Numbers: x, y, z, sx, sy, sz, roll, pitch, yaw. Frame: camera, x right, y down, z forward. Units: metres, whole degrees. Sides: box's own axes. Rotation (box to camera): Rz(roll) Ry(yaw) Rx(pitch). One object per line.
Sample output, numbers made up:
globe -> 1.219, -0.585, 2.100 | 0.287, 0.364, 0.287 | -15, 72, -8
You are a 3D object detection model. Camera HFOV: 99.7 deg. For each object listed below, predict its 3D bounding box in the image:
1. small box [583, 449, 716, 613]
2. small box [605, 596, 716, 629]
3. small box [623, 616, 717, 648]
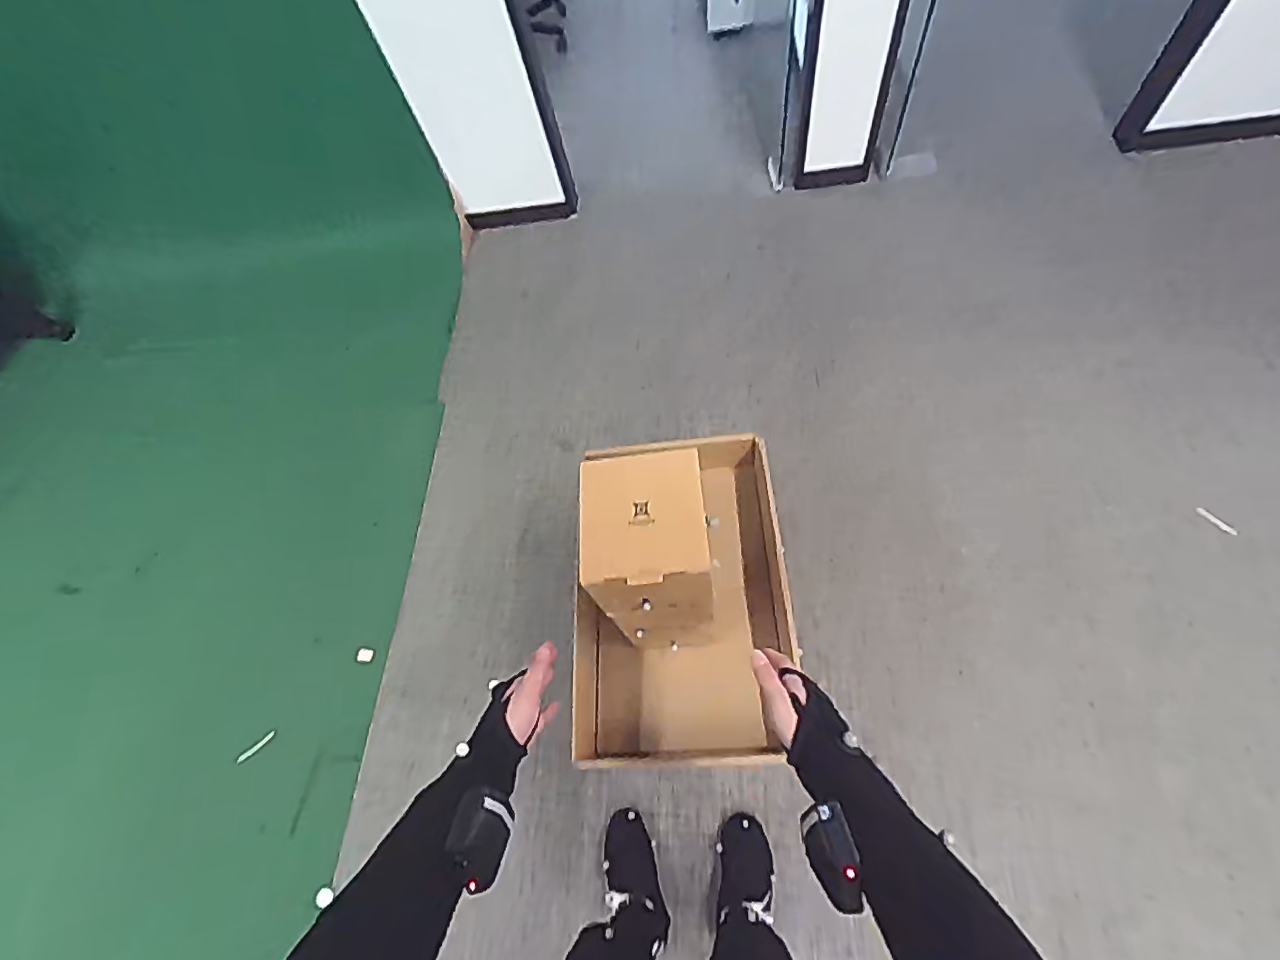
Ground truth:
small box -> 0.016, 0.078, 0.769 | 0.168, 0.176, 0.179 | -7, 63, 6
small box -> 0.037, 0.148, 0.913 | 0.168, 0.176, 0.179 | -7, 61, 6
small box -> 0.061, 0.222, 1.057 | 0.168, 0.176, 0.179 | -5, 62, 8
